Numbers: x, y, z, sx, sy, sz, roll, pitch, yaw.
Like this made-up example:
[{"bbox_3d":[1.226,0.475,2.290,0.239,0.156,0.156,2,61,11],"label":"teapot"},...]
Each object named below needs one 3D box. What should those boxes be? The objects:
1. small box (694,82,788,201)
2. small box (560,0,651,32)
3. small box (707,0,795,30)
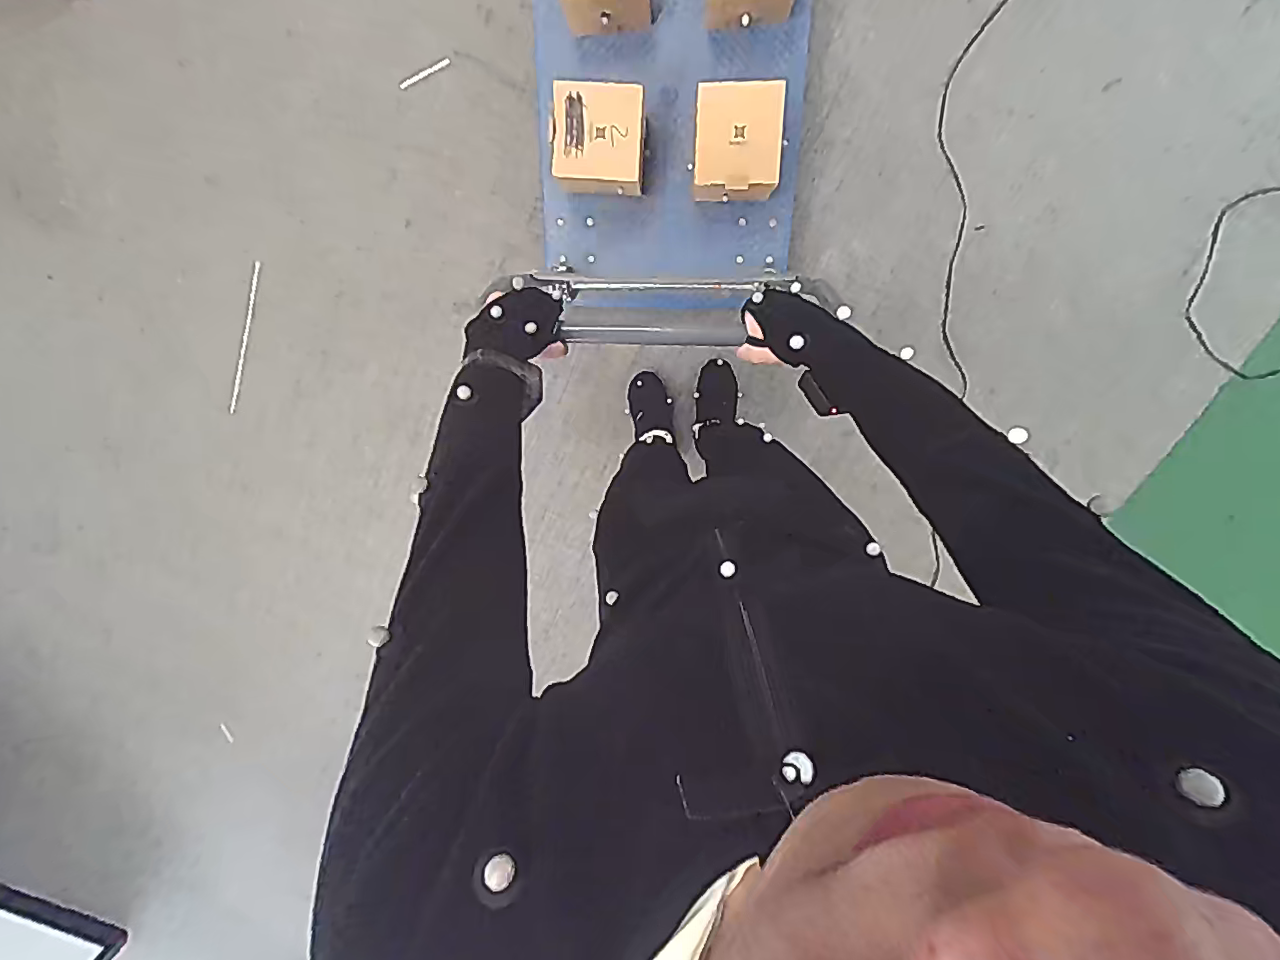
[{"bbox_3d":[0.198,-0.687,1.112,0.168,0.176,0.179,1,110,3],"label":"small box"},{"bbox_3d":[-0.066,-0.987,1.024,0.168,0.176,0.179,-2,109,4],"label":"small box"},{"bbox_3d":[0.209,-0.986,1.006,0.168,0.176,0.179,-2,110,5],"label":"small box"}]
